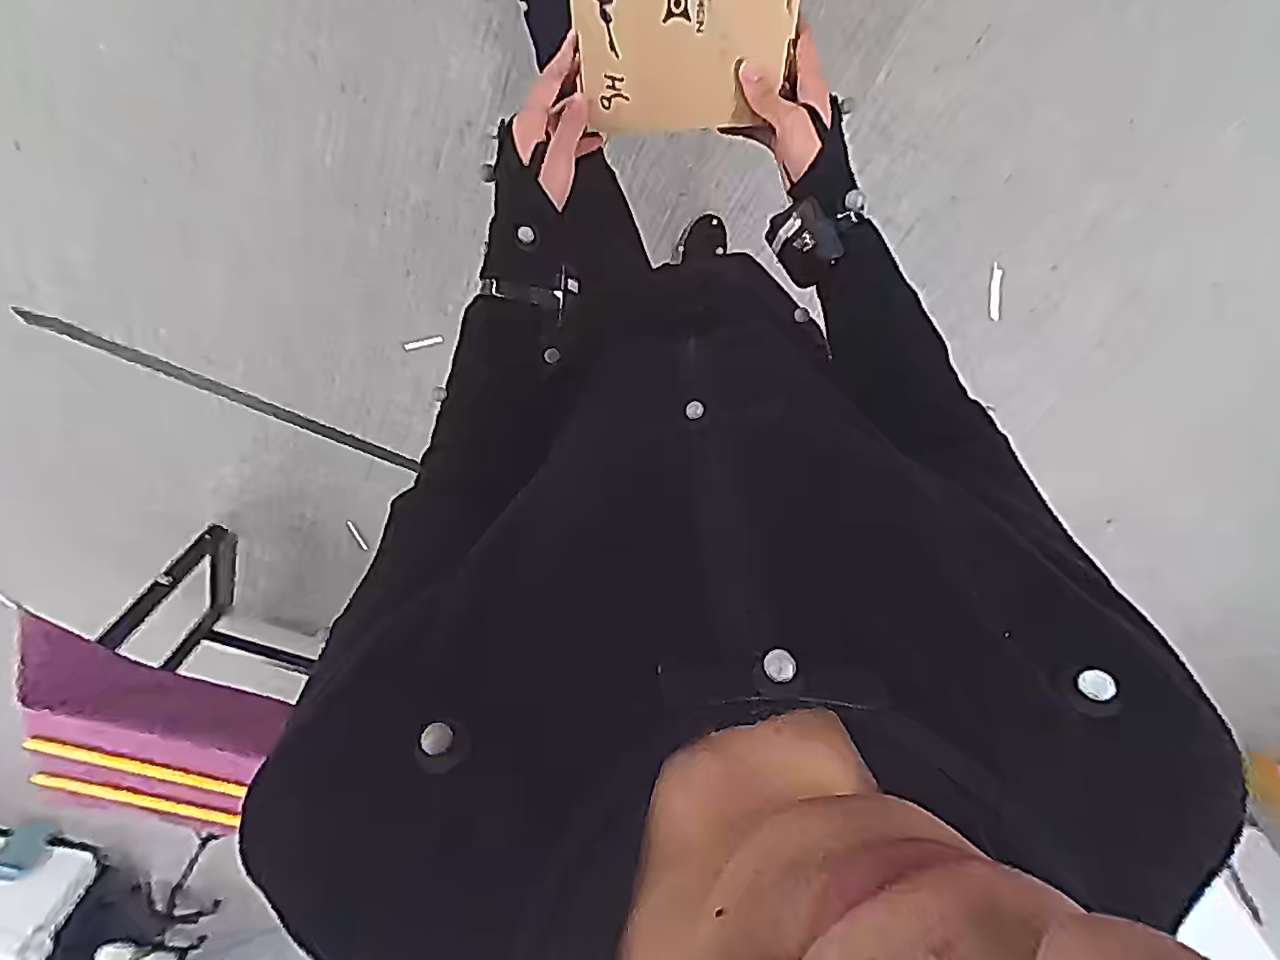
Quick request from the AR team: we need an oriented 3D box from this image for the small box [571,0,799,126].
[{"bbox_3d":[0.030,-0.423,0.475,0.179,0.176,0.168,-4,132,-5],"label":"small box"}]
